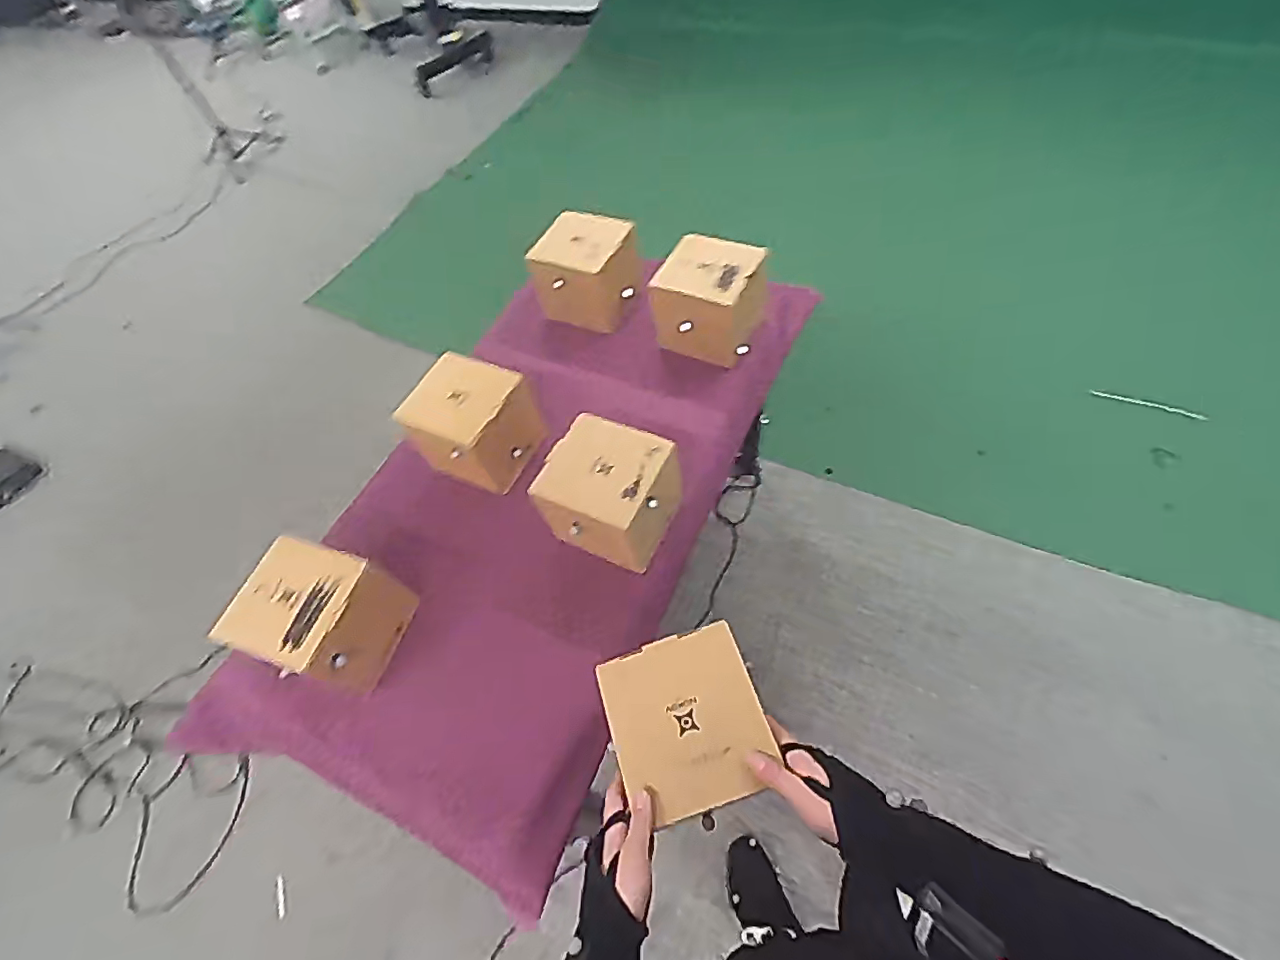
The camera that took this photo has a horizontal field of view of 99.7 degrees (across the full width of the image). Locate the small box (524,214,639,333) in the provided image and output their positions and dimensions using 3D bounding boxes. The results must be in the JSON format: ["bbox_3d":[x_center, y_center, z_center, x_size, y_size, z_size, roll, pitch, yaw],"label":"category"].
[{"bbox_3d":[-0.120,-0.451,1.191,0.179,0.176,0.168,20,65,19],"label":"small box"}]

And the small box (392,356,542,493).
[{"bbox_3d":[-0.311,-0.099,1.009,0.179,0.176,0.168,20,63,17],"label":"small box"}]

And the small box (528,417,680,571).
[{"bbox_3d":[-0.049,0.028,0.890,0.179,0.176,0.168,20,64,21],"label":"small box"}]

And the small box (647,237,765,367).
[{"bbox_3d":[0.138,-0.355,1.096,0.179,0.176,0.168,22,65,22],"label":"small box"}]
